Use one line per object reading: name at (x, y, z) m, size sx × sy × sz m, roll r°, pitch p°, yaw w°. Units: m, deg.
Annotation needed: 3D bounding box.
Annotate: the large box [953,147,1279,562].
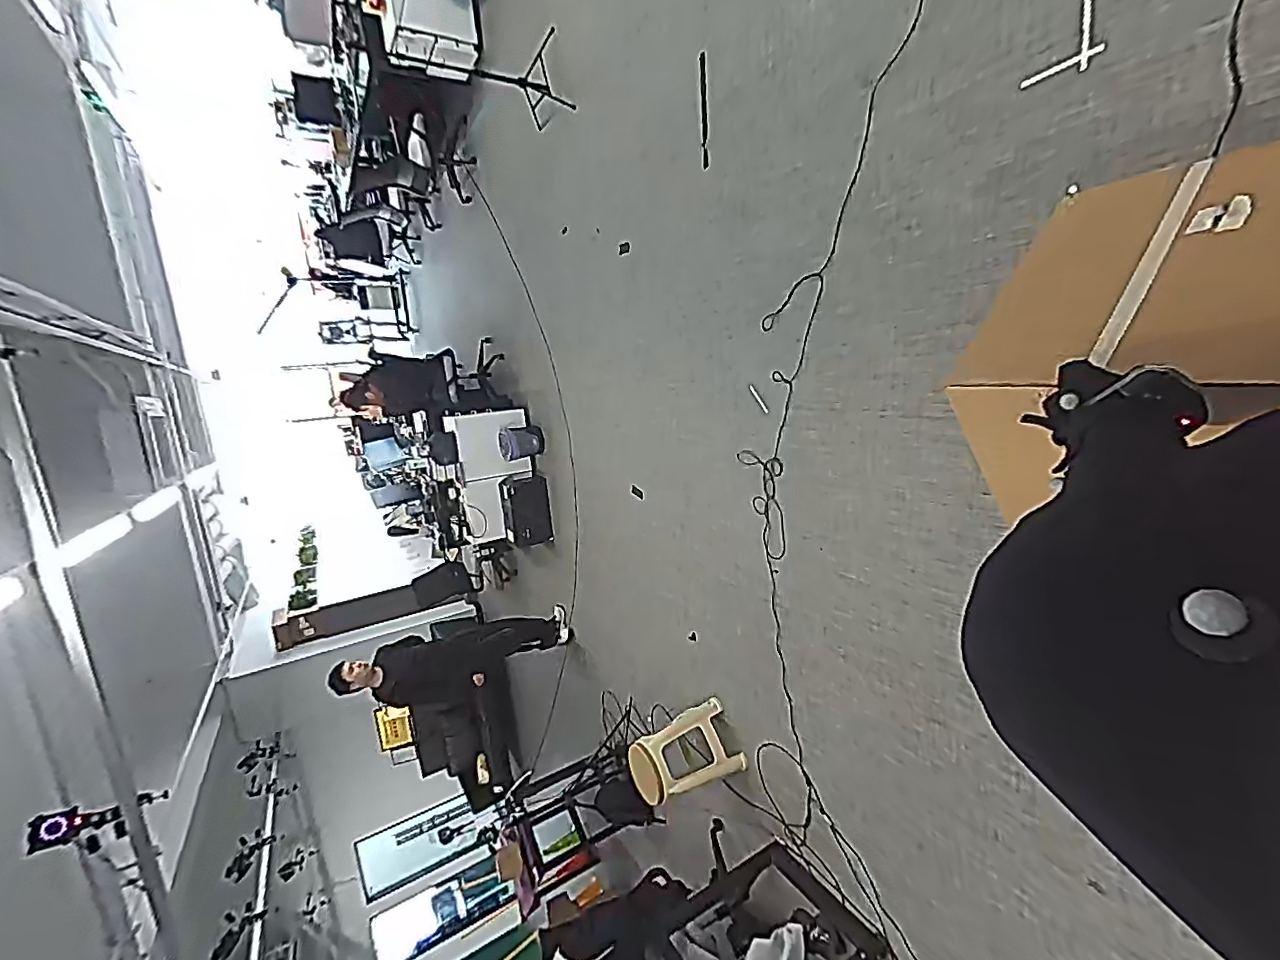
large box at (0.710, -0.160, 0.729) m, size 0.320 × 0.408 × 0.320 m, roll 47°, pitch 164°, yaw -29°
